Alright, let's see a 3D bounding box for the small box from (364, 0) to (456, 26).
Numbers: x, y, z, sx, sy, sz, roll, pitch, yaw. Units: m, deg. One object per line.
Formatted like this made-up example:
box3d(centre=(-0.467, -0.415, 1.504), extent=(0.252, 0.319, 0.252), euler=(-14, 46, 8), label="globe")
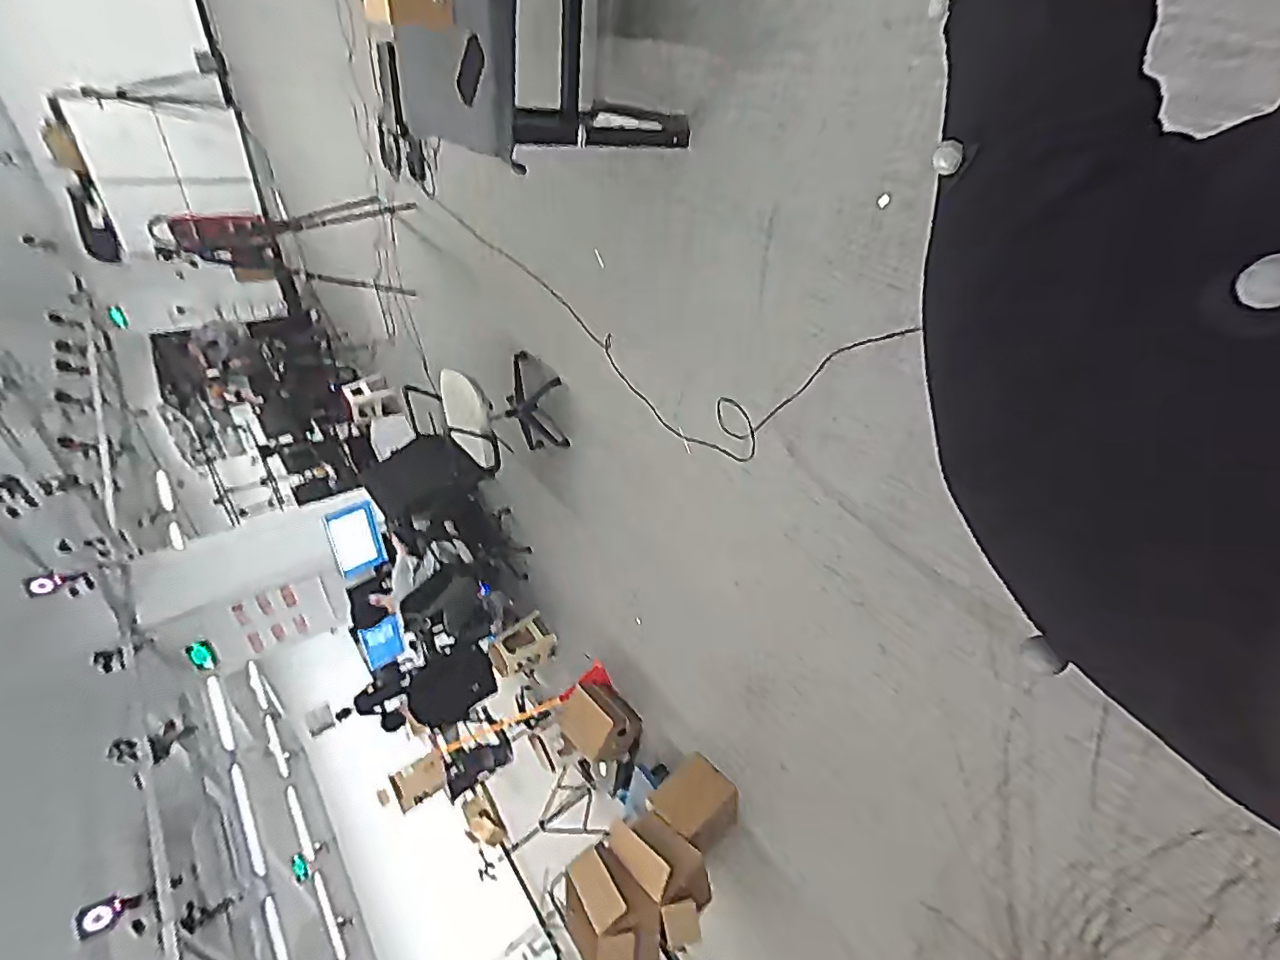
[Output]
box3d(centre=(-0.570, -1.231, 1.321), extent=(0.179, 0.176, 0.168), euler=(40, 138, 34), label="small box")
